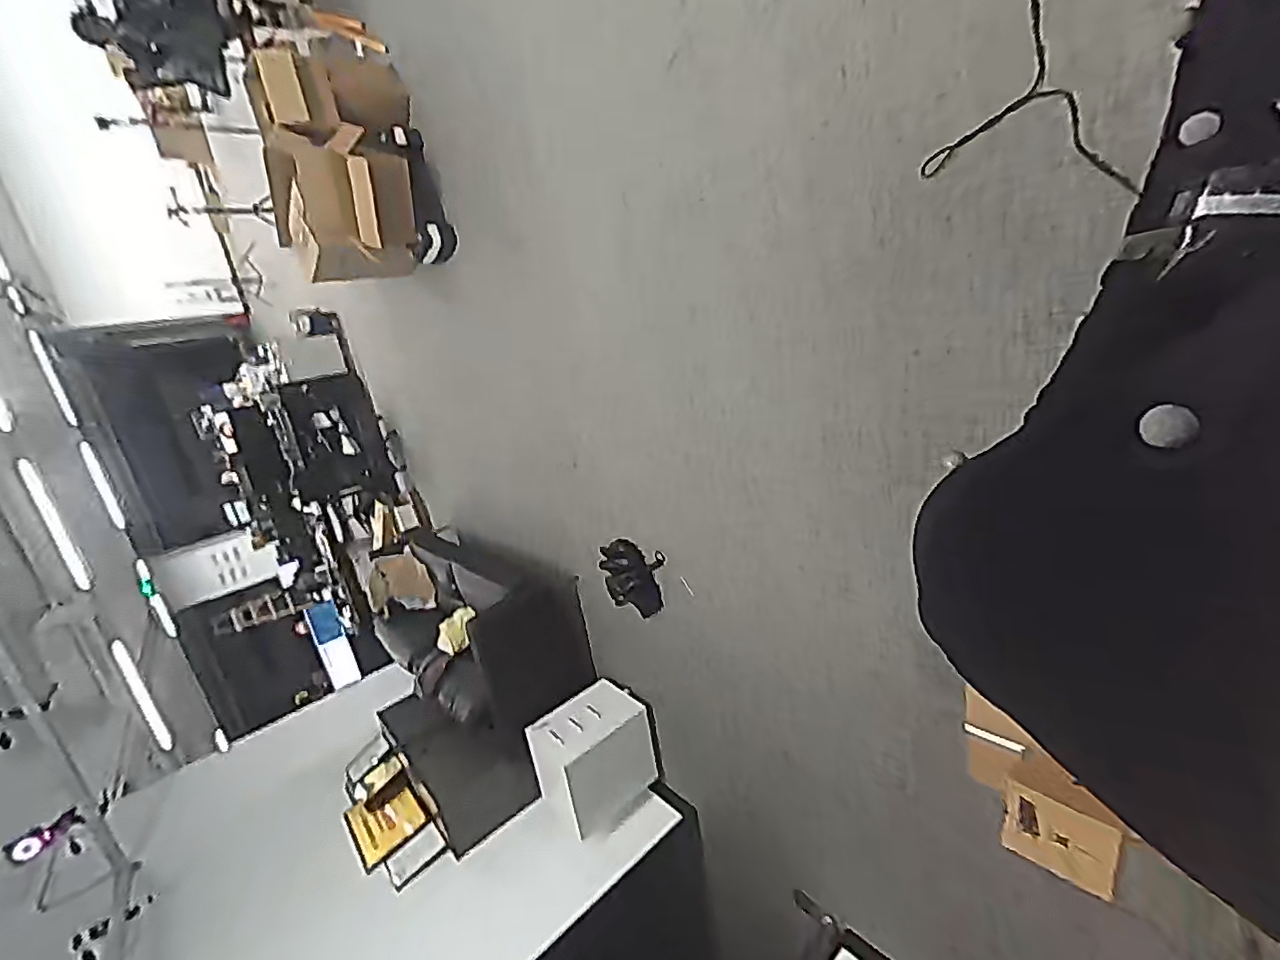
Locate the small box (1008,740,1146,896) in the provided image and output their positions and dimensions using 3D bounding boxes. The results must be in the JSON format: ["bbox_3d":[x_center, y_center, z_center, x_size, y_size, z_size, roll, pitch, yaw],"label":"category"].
[{"bbox_3d":[0.866,0.653,1.076,0.179,0.176,0.168,8,109,51],"label":"small box"}]
